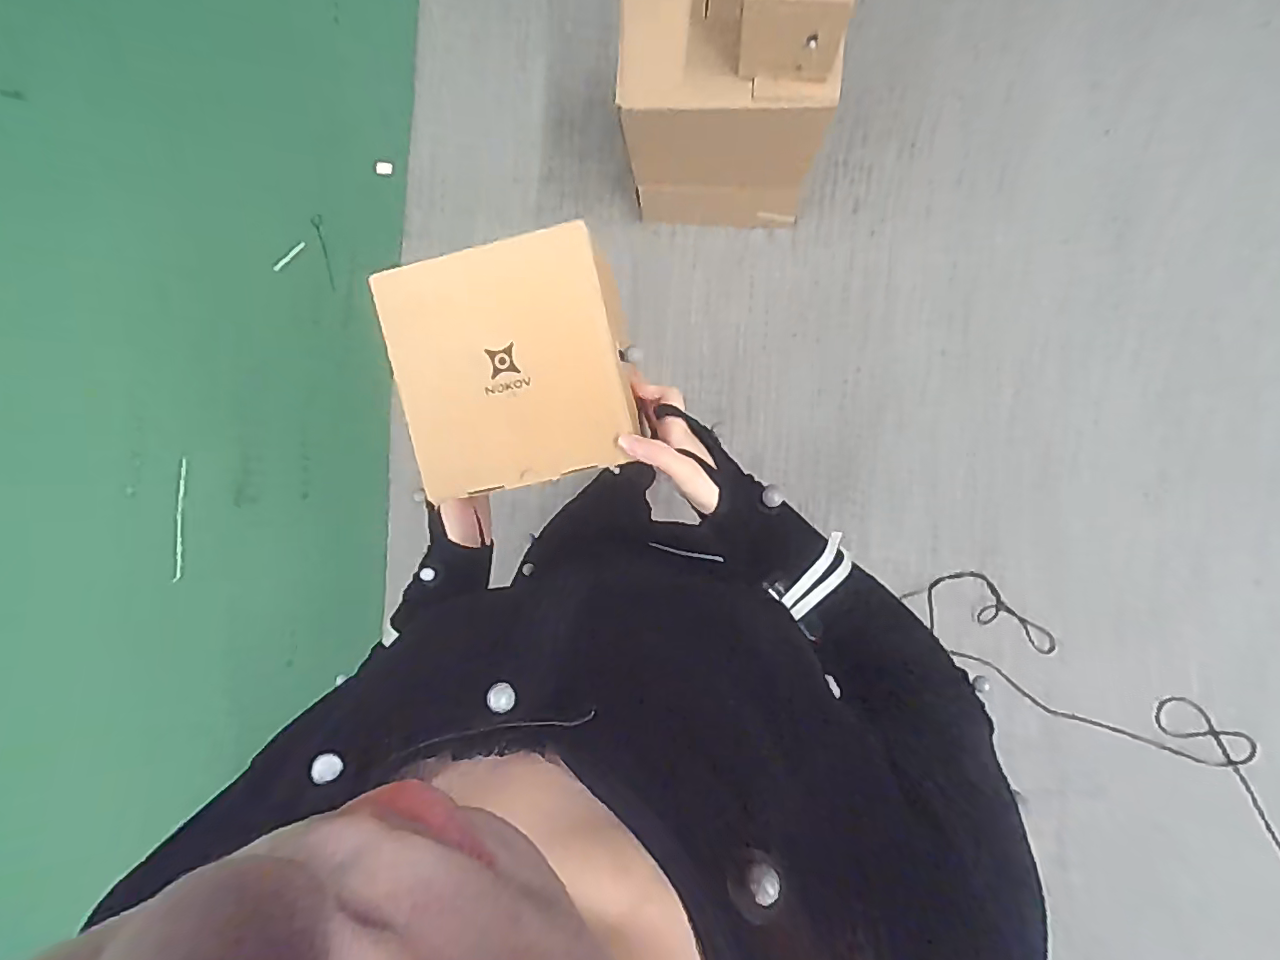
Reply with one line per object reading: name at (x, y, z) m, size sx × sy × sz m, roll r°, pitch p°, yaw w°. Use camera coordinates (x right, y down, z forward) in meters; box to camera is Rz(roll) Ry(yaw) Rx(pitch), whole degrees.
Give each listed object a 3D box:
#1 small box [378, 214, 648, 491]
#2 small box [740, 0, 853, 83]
small box at (-0.091, -0.098, 0.475) m, size 0.168 × 0.176 × 0.179 m, roll -12°, pitch 96°, yaw 6°
small box at (0.260, -0.801, 0.894) m, size 0.168 × 0.176 × 0.179 m, roll 7°, pitch 90°, yaw 7°
